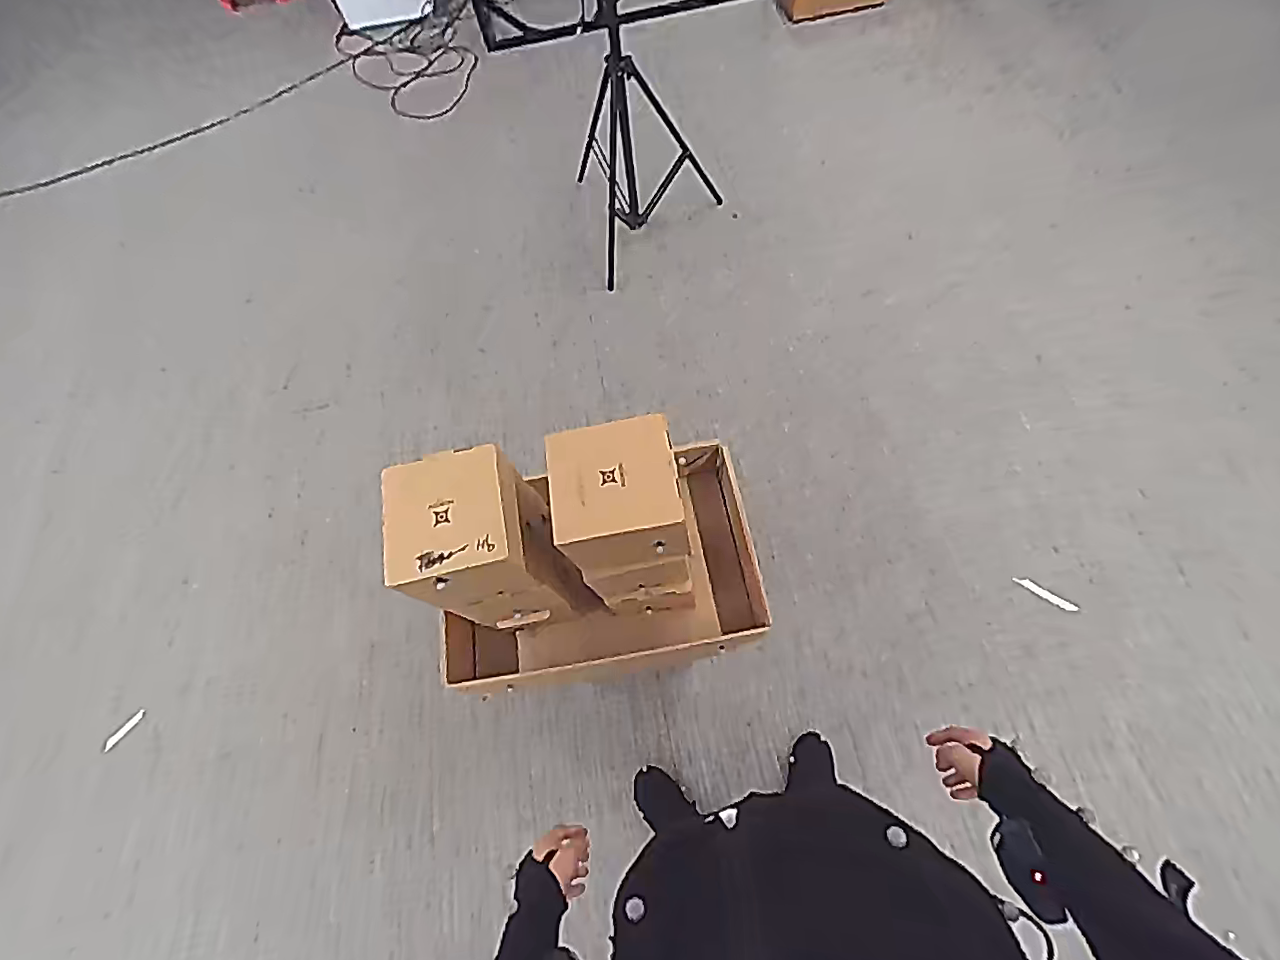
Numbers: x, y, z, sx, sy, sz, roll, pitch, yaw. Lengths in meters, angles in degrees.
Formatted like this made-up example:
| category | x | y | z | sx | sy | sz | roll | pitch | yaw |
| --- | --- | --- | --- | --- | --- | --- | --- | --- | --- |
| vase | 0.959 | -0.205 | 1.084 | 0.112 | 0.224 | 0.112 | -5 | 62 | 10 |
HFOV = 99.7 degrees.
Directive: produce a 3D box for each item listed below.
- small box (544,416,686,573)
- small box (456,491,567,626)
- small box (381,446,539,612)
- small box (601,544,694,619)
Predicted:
| category | x | y | z | sx | sy | sz | roll | pitch | yaw |
| --- | --- | --- | --- | --- | --- | --- | --- | --- | --- |
| small box | -0.030 | 0.029 | 0.797 | 0.179 | 0.176 | 0.168 | -11 | 66 | 5 |
| small box | -0.234 | 0.143 | 0.947 | 0.168 | 0.176 | 0.179 | -13 | 67 | 0 |
| small box | -0.257 | 0.079 | 0.796 | 0.168 | 0.176 | 0.179 | -14 | 65 | 1 |
| small box | 0.014 | 0.170 | 1.089 | 0.168 | 0.176 | 0.179 | -10 | 67 | 5 |
